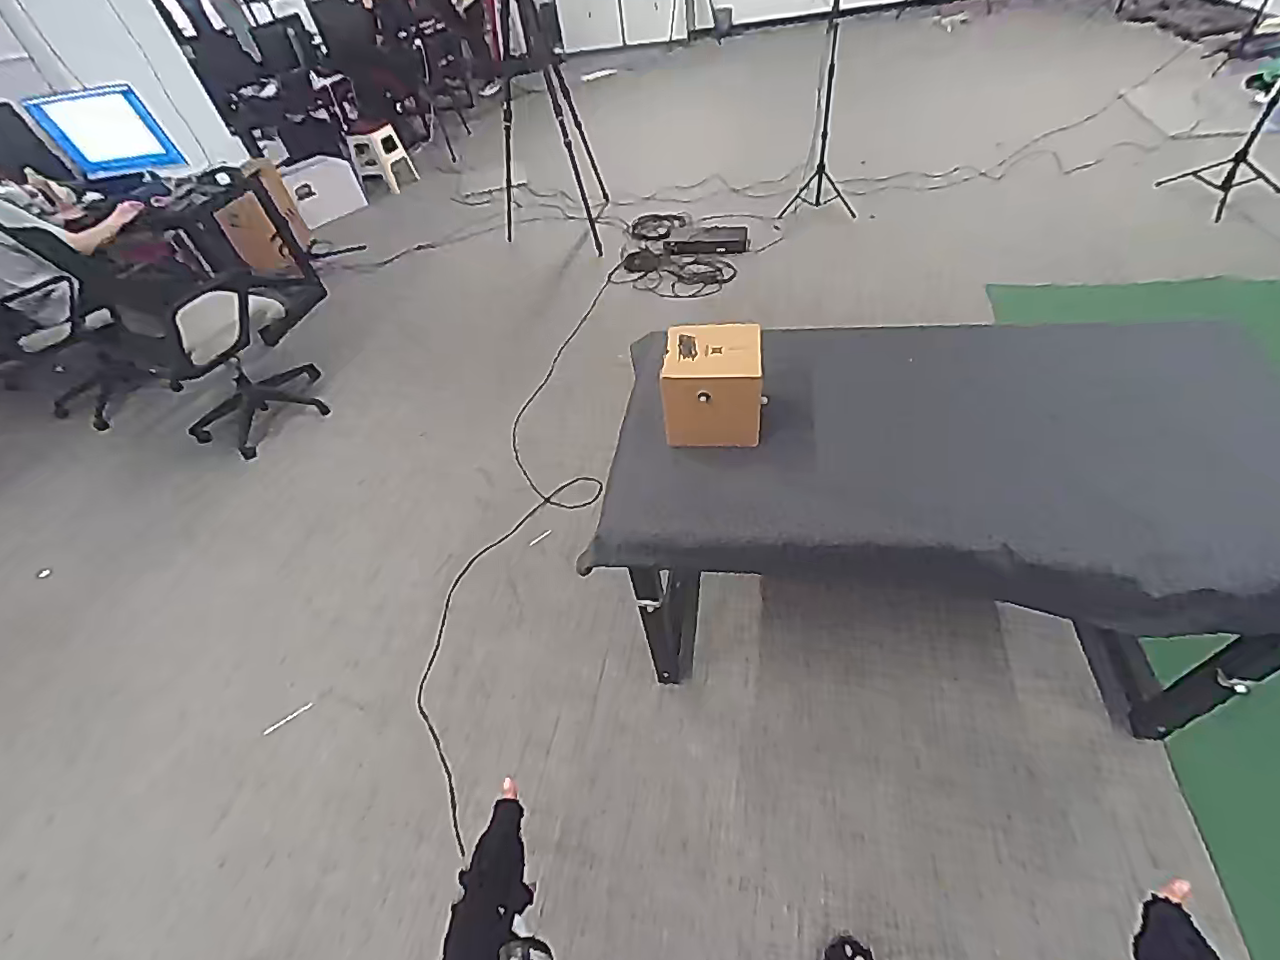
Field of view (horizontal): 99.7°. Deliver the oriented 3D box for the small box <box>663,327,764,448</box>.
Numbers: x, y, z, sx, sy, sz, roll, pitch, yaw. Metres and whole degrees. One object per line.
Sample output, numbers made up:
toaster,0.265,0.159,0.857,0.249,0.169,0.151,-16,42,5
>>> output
small box,0.146,-0.175,1.040,0.179,0.176,0.168,2,48,10
